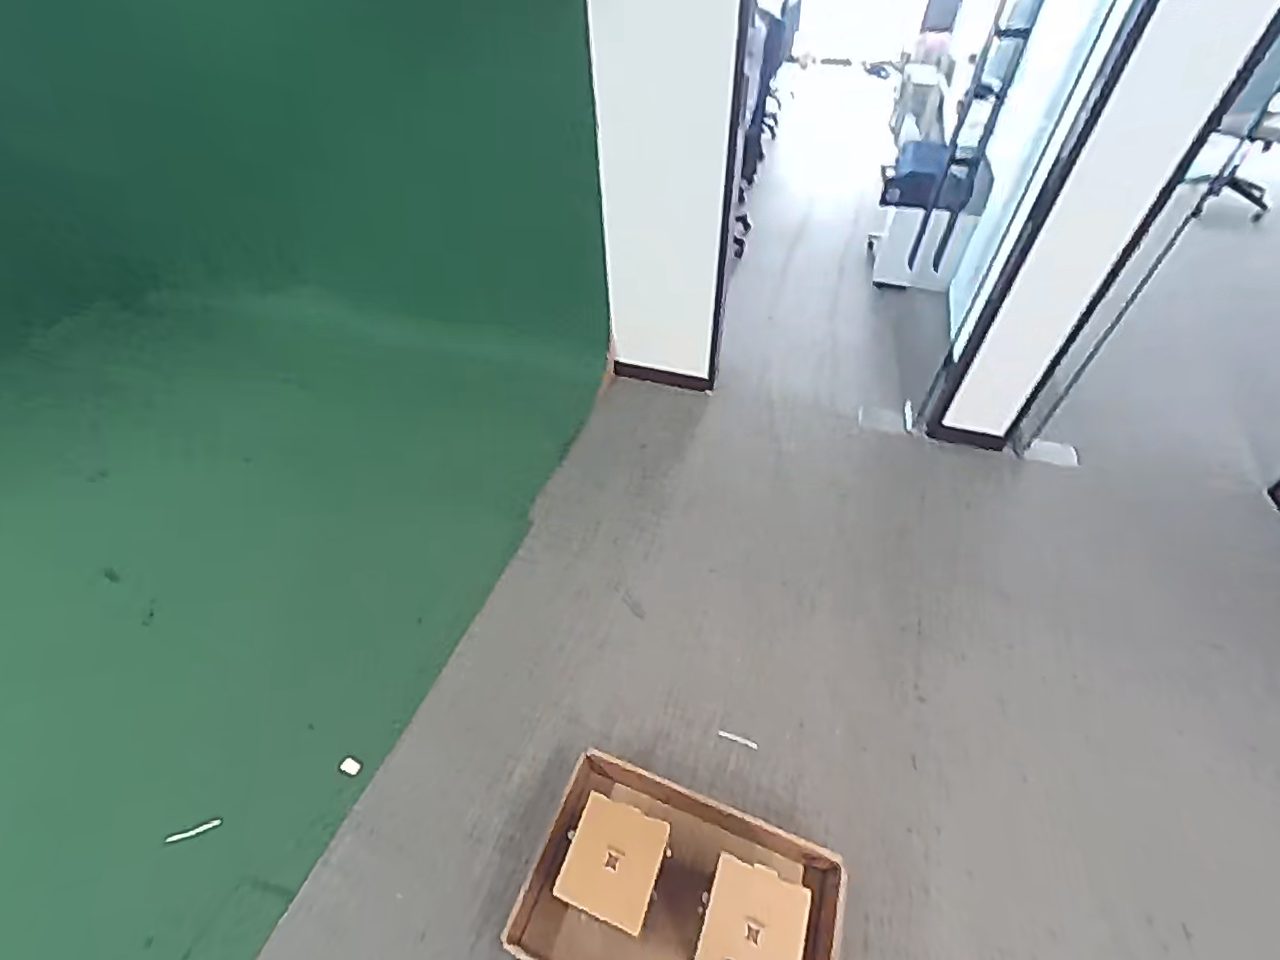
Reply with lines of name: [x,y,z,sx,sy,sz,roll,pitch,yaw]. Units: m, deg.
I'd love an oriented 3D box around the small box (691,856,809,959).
small box: [0.190,0.817,0.964,0.168,0.176,0.179,15,49,17]

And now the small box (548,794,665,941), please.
small box: [-0.055,0.745,1.035,0.168,0.176,0.179,16,49,14]
